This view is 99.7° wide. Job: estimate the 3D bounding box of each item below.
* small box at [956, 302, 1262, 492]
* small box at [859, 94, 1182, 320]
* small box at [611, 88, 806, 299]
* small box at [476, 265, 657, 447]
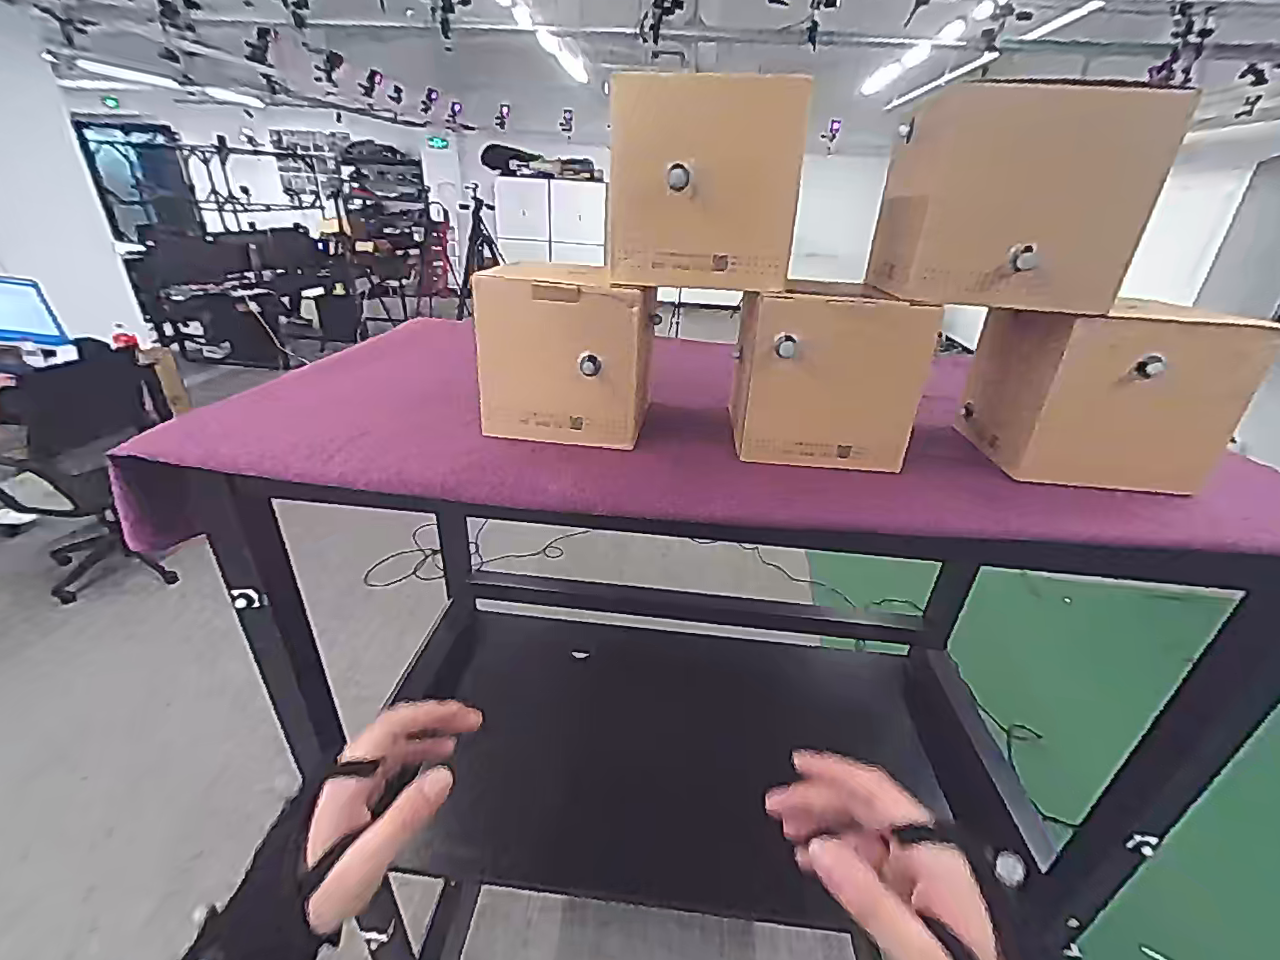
[{"bbox_3d":[0.477,-0.099,0.594,0.179,0.176,0.168,5,27,4],"label":"small box"},{"bbox_3d":[0.339,-0.257,0.529,0.179,0.176,0.168,7,26,5],"label":"small box"},{"bbox_3d":[0.064,-0.285,0.557,0.168,0.176,0.179,4,26,4],"label":"small box"},{"bbox_3d":[-0.072,-0.147,0.625,0.168,0.176,0.179,7,26,5],"label":"small box"}]
